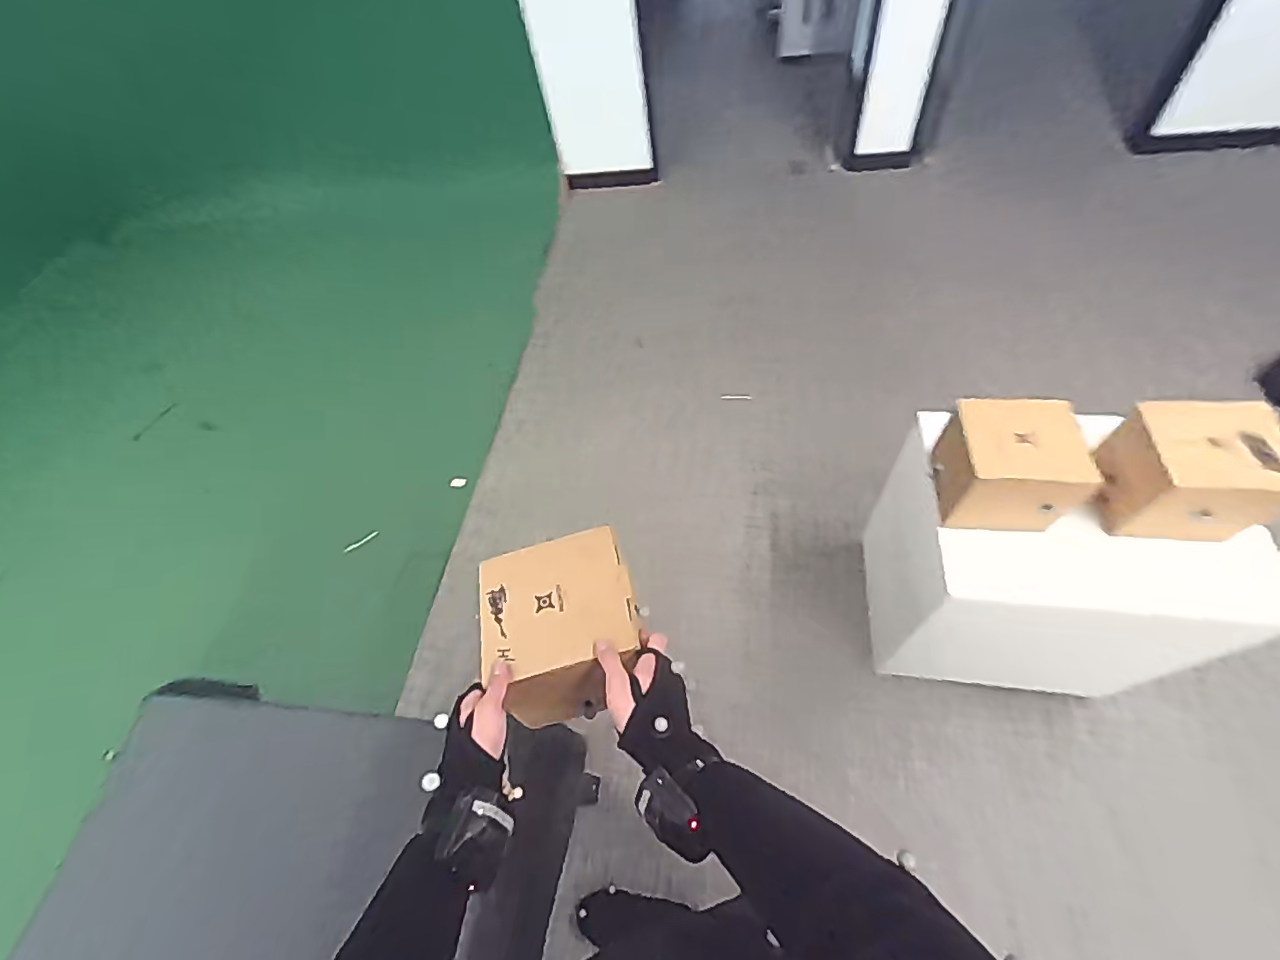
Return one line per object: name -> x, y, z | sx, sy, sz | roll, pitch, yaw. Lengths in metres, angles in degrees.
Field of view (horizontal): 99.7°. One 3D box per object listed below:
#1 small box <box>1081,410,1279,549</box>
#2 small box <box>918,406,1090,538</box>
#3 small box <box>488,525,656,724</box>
small box -> 0.875, 0.003, 0.896 | 0.179, 0.176, 0.168 | 3, 57, 10
small box -> 0.614, -0.010, 0.938 | 0.179, 0.176, 0.168 | 2, 56, 8
small box -> -0.079, 0.184, 0.677 | 0.179, 0.176, 0.168 | -13, 50, -2
